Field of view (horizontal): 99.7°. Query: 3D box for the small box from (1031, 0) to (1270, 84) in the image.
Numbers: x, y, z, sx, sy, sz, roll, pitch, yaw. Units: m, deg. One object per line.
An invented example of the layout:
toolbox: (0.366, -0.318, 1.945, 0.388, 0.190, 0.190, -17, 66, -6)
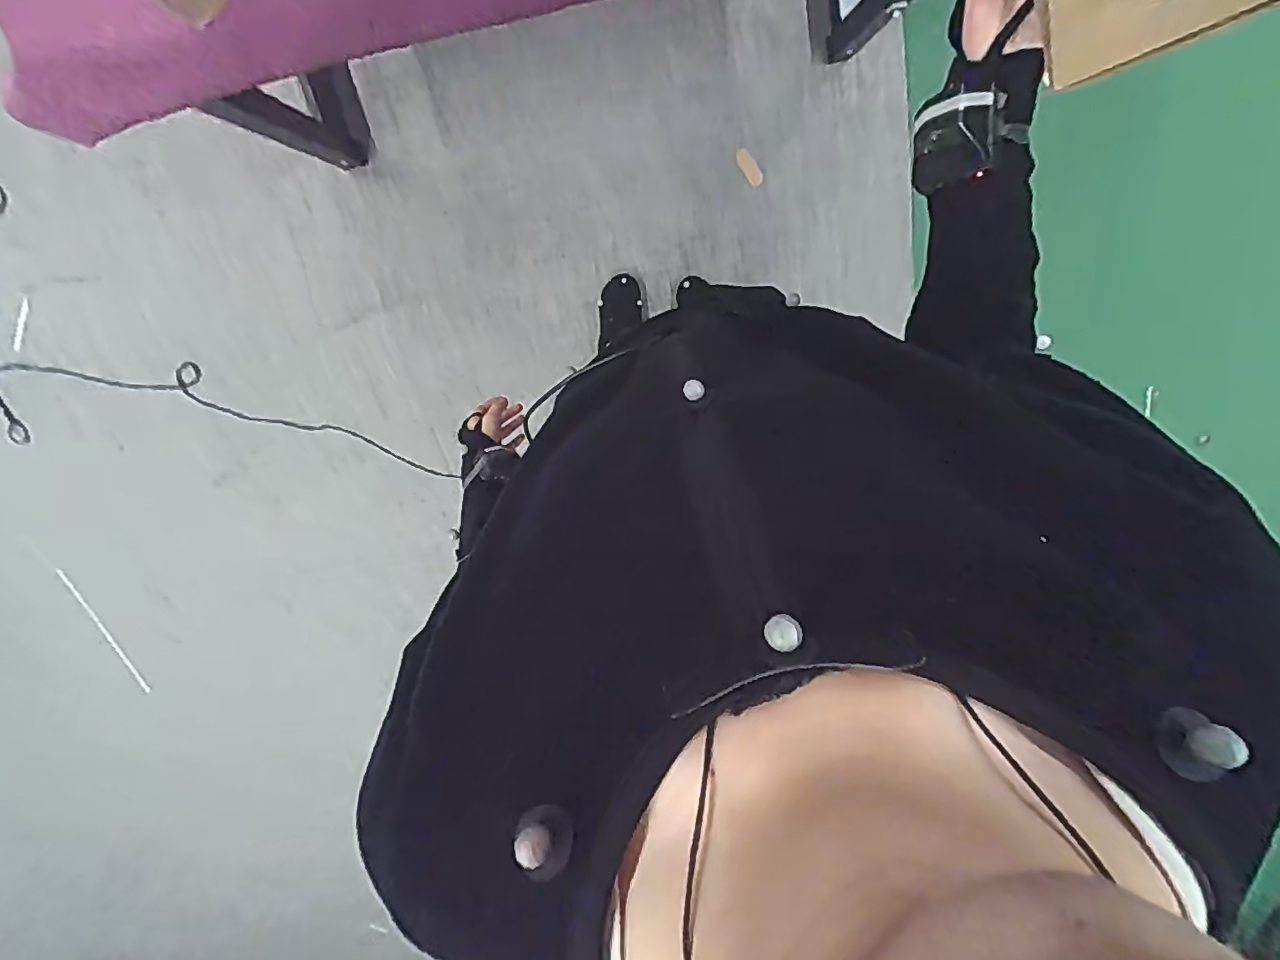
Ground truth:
small box: (0.262, -0.328, 0.221, 0.179, 0.168, 0.176, -7, 148, 37)
